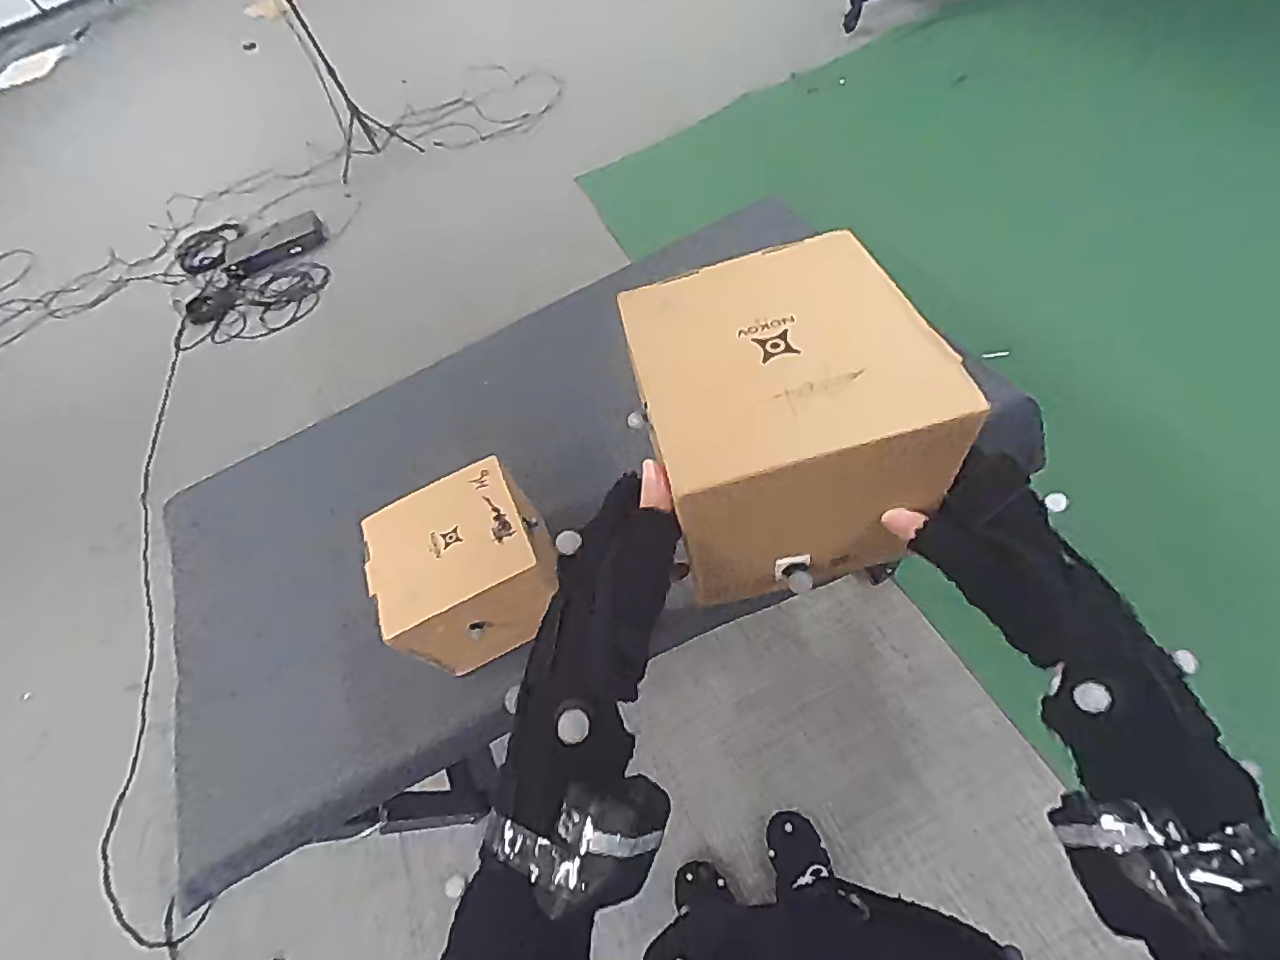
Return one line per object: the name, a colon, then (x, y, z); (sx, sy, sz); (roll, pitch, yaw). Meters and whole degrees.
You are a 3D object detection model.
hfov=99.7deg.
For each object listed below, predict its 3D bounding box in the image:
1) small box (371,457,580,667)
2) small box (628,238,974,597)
small box: (-0.199, 0.110, 0.677); (0.179, 0.176, 0.168); (-27, 57, -4)
small box: (0.097, -0.039, 0.399); (0.168, 0.176, 0.179); (-15, 54, 3)
